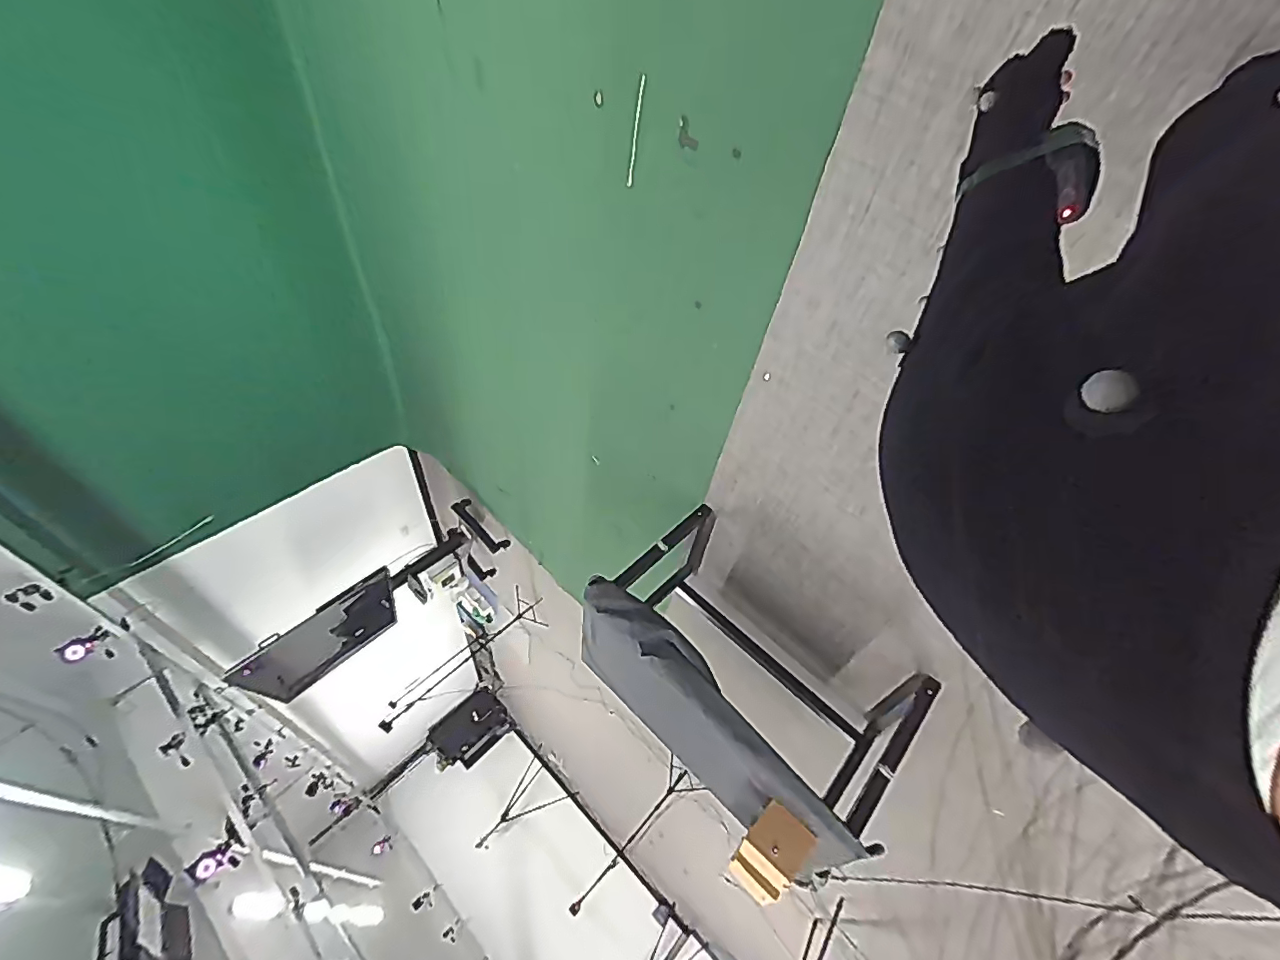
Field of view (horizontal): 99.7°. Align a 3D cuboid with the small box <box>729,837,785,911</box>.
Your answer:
[{"bbox_3d":[0.460,1.417,1.972,0.179,0.176,0.168,39,144,24],"label":"small box"}]

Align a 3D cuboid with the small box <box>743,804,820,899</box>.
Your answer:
[{"bbox_3d":[0.466,1.218,1.778,0.179,0.176,0.168,33,142,32],"label":"small box"}]
